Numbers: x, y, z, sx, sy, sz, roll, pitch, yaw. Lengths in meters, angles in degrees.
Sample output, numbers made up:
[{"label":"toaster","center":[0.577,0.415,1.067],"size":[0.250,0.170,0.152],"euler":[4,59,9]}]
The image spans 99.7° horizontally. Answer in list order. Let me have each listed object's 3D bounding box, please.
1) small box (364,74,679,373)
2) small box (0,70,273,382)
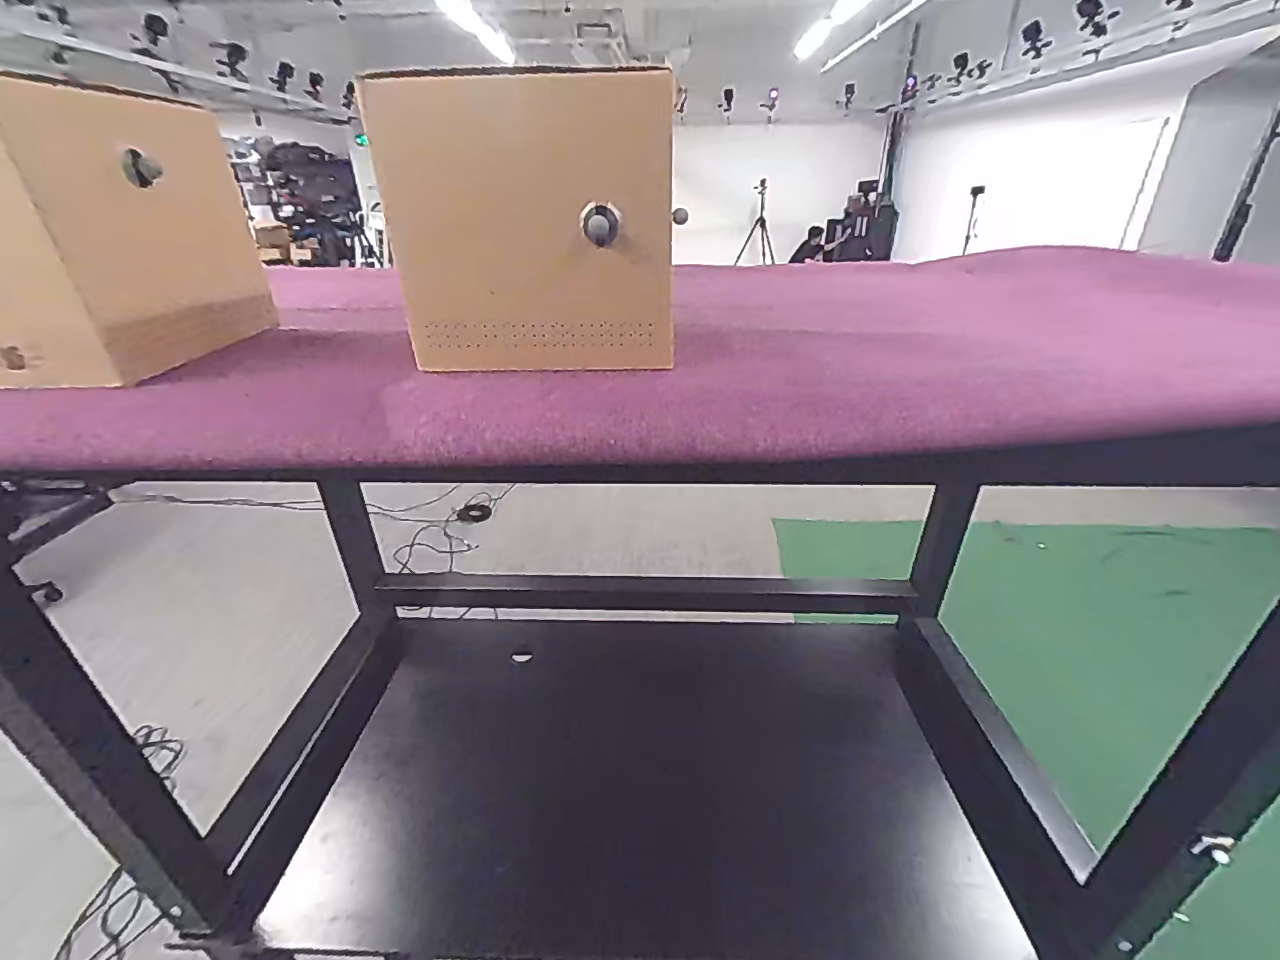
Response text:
[{"label":"small box","center":[-0.064,-0.183,0.403],"size":[0.179,0.176,0.168],"euler":[-1,27,1]},{"label":"small box","center":[-0.406,-0.173,0.384],"size":[0.168,0.176,0.179],"euler":[0,29,-1]}]
